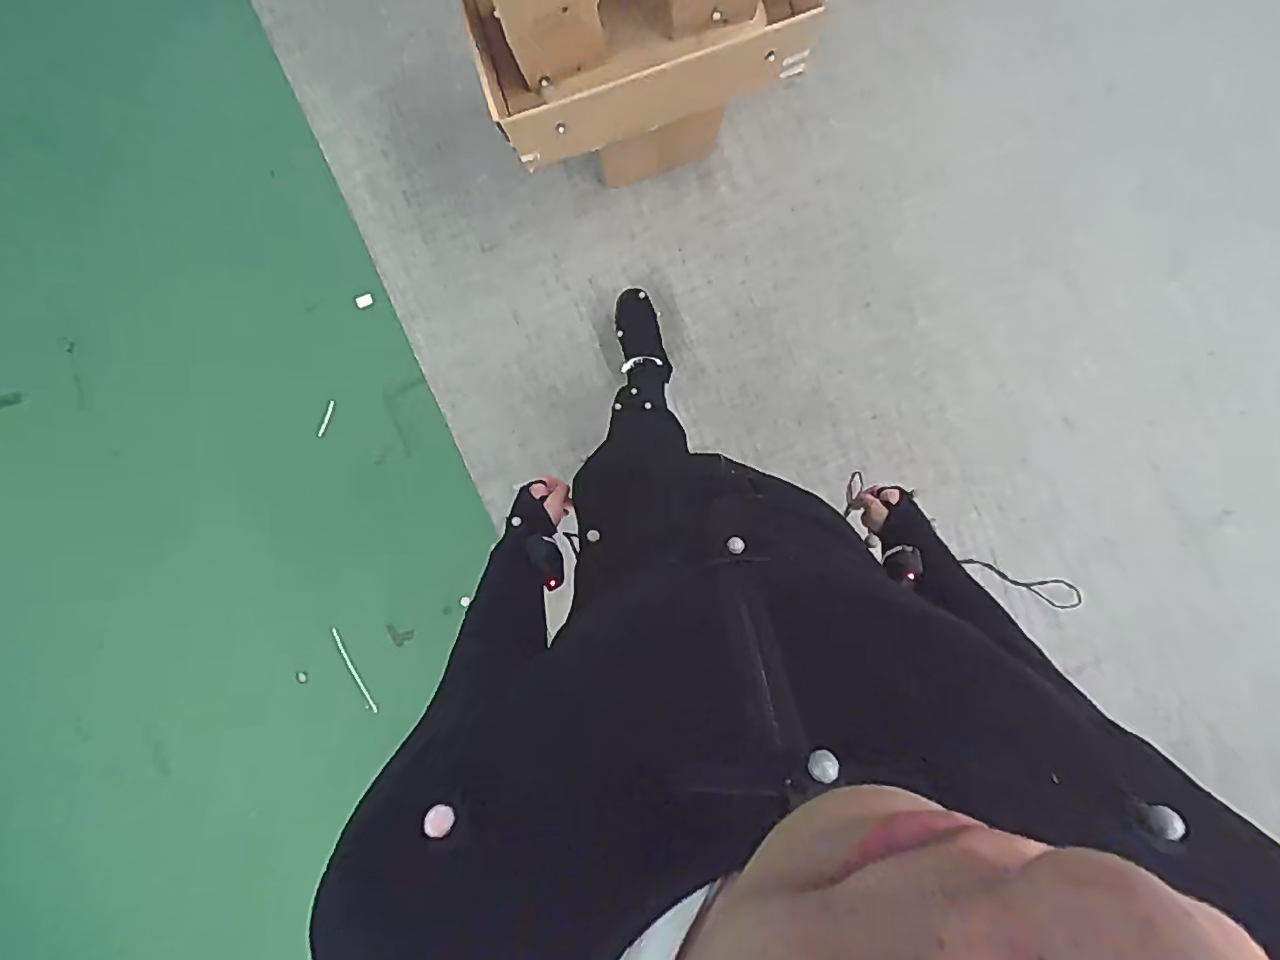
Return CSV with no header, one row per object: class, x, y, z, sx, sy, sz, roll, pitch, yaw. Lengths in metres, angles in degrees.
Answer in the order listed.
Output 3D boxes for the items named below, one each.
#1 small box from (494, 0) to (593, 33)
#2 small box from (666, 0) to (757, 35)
small box,-0.175,-0.842,0.814,0.168,0.176,0.179,-18,97,6
small box,0.119,-0.944,0.948,0.168,0.176,0.179,-12,99,5
